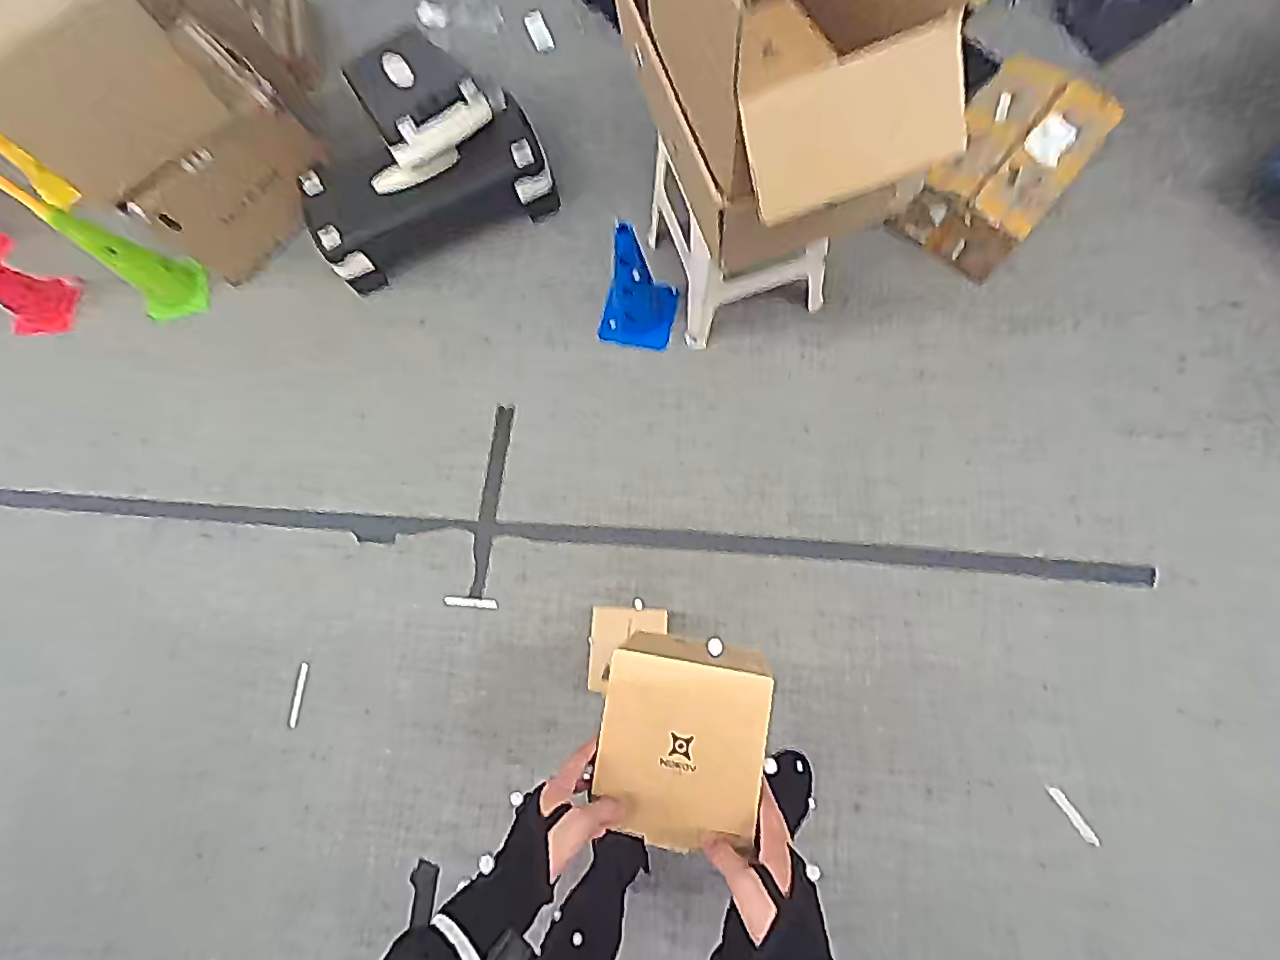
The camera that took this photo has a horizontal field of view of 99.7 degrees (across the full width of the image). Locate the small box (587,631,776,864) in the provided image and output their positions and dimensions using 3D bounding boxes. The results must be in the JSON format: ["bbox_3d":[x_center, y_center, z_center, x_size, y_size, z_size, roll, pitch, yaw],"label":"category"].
[{"bbox_3d":[0.050,0.277,0.609,0.168,0.176,0.179,8,83,9],"label":"small box"}]

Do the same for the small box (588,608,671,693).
[{"bbox_3d":[-0.016,0.389,1.241,0.168,0.176,0.179,2,76,6],"label":"small box"}]
